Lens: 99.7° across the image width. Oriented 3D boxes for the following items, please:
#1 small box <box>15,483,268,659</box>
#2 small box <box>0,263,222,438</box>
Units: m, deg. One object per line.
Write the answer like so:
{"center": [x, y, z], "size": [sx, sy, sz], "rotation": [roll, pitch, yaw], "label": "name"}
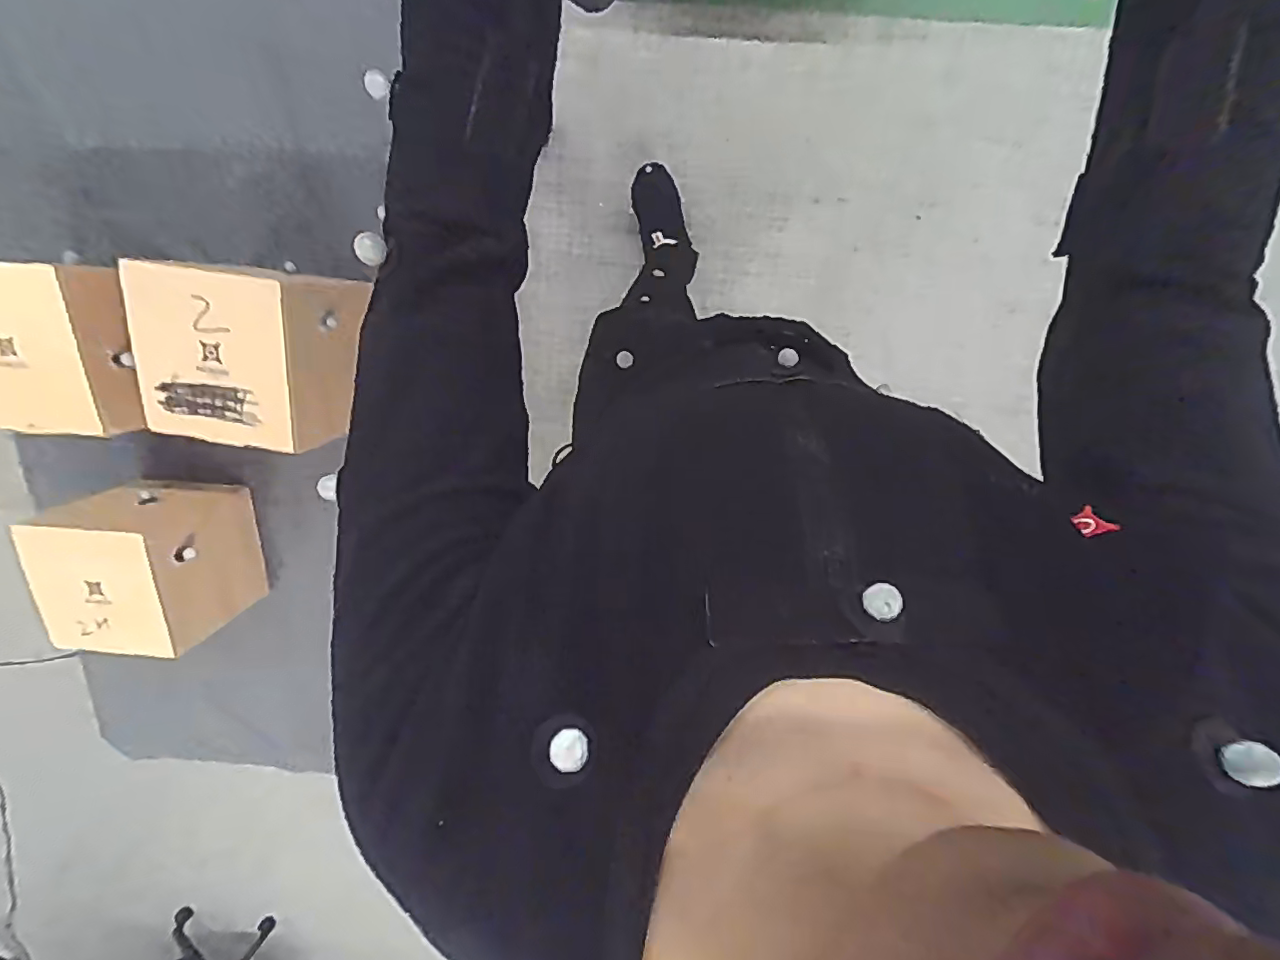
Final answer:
{"center": [-0.647, 0.112, 0.729], "size": [0.168, 0.176, 0.179], "rotation": [4, 109, 3], "label": "small box"}
{"center": [-0.648, -0.158, 0.638], "size": [0.168, 0.176, 0.179], "rotation": [3, 110, 3], "label": "small box"}
